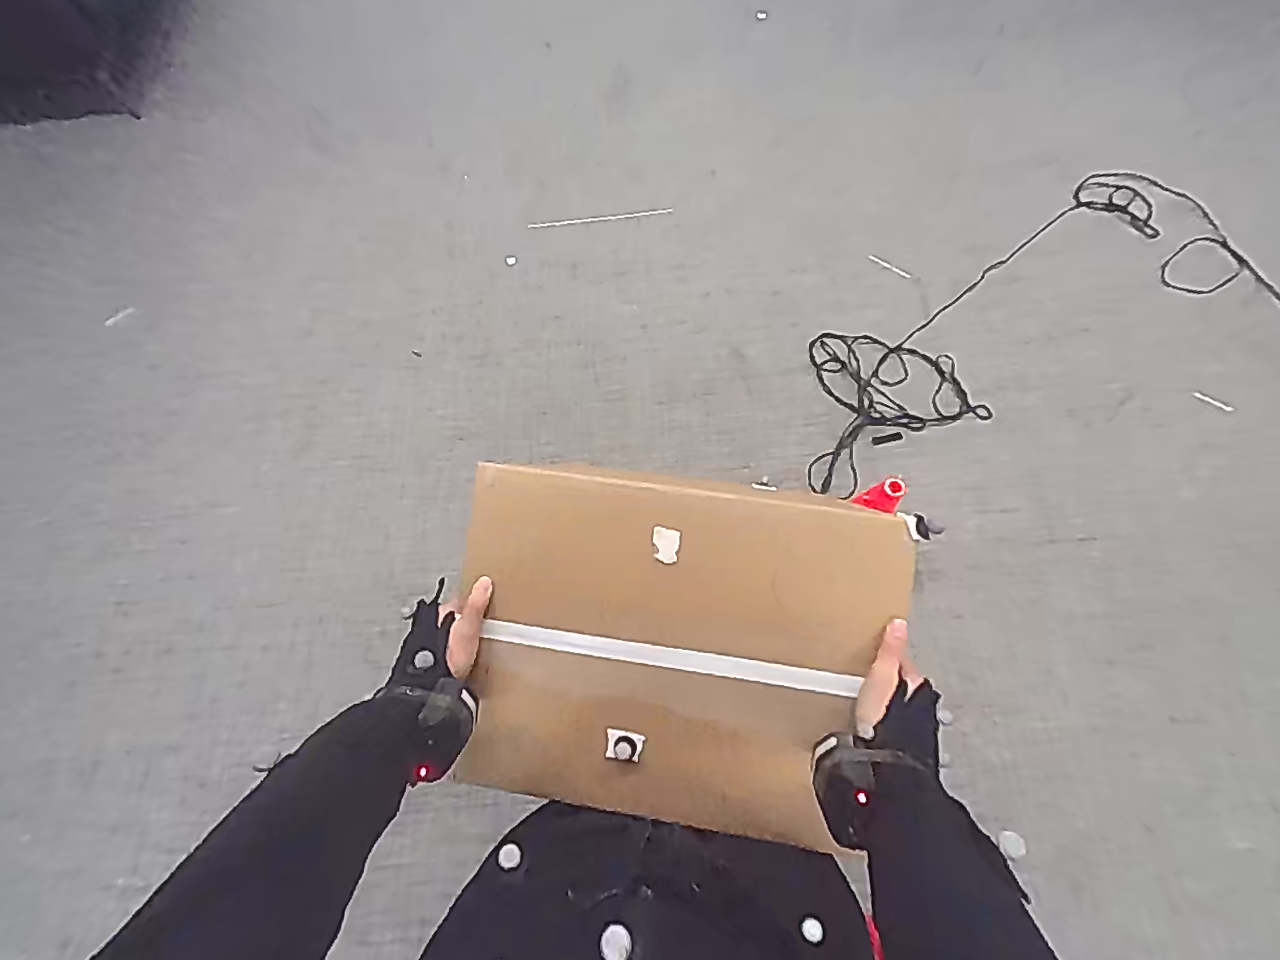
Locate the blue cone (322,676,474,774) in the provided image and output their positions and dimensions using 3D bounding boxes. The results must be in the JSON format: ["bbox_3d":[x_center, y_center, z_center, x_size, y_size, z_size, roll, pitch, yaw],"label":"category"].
[{"bbox_3d":[-0.474,0.469,1.044,0.192,0.380,0.193,-5,66,2],"label":"blue cone"}]

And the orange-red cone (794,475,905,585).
[{"bbox_3d":[0.470,0.073,1.132,0.199,0.360,0.198,14,69,9],"label":"orange-red cone"}]
